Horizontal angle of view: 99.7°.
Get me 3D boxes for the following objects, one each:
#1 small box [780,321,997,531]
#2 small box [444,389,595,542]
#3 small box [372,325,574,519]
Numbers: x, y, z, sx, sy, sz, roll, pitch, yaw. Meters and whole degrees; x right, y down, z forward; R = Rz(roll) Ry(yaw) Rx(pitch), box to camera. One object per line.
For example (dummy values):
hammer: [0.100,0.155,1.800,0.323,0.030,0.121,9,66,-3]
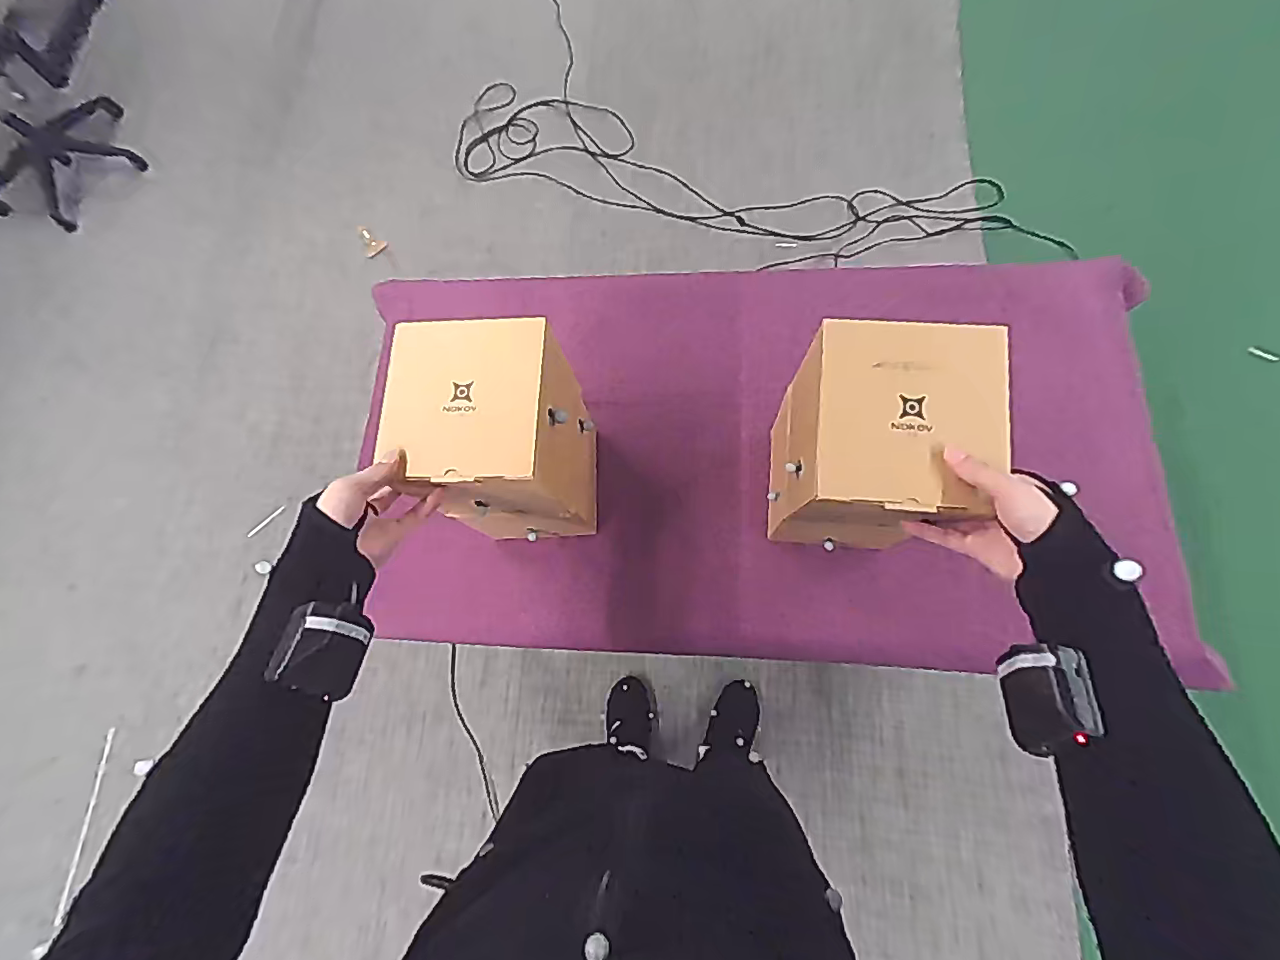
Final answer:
small box: [0.244,-0.045,0.568,0.168,0.176,0.179,5,78,7]
small box: [-0.162,-0.013,0.783,0.168,0.176,0.179,-3,73,6]
small box: [-0.175,-0.058,0.627,0.168,0.176,0.179,-1,74,6]
